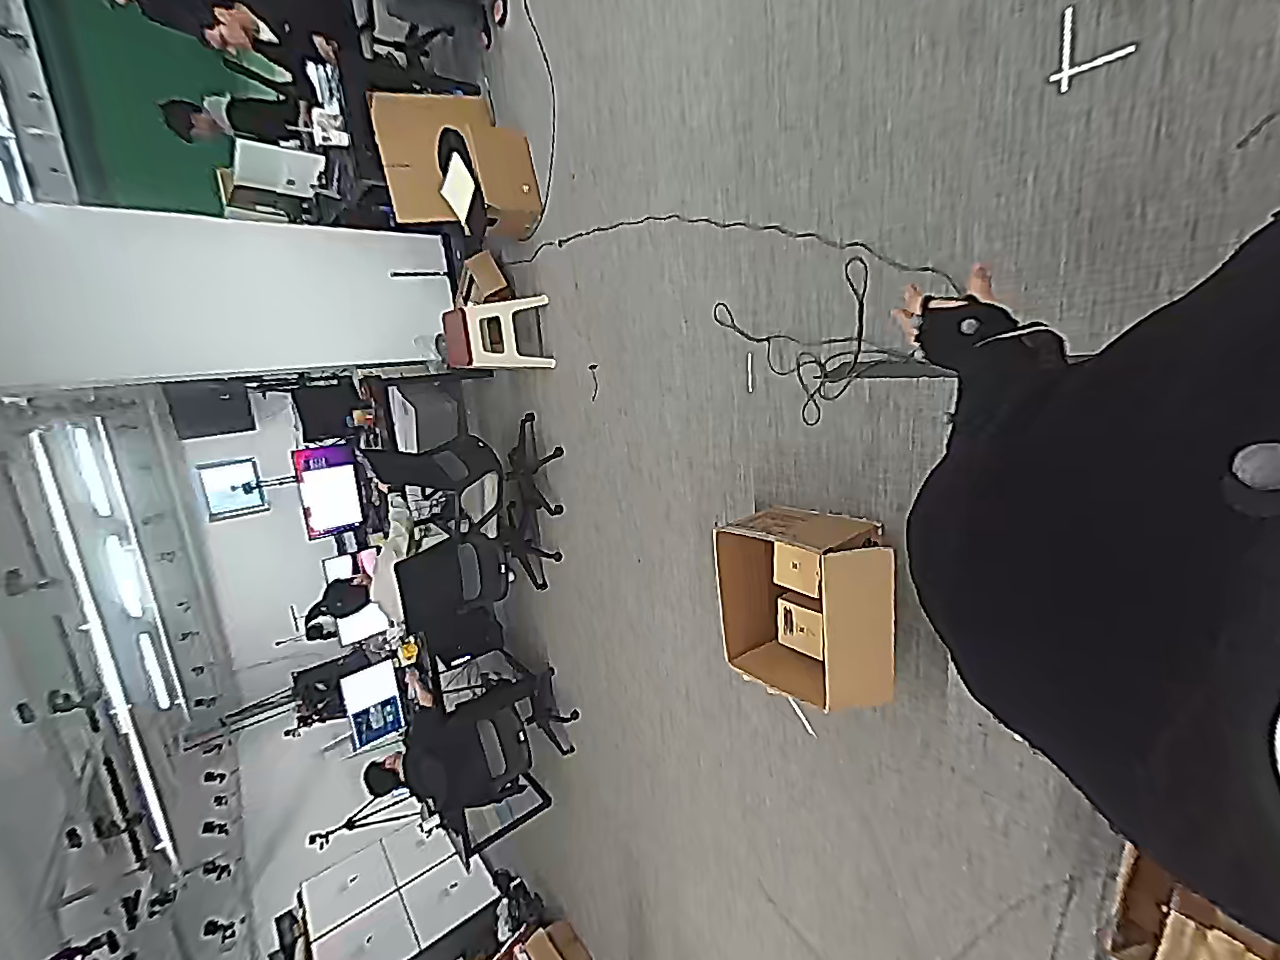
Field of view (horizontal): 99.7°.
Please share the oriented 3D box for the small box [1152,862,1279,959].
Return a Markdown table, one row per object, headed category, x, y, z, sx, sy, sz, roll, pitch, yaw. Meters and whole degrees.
| category | x | y | z | sx | sy | sz | roll | pitch | yaw |
| --- | --- | --- | --- | --- | --- | --- | --- | --- | --- |
| small box | 1.191 | 0.944 | 1.107 | 0.168 | 0.176 | 0.179 | 17 | 113 | 49 |
